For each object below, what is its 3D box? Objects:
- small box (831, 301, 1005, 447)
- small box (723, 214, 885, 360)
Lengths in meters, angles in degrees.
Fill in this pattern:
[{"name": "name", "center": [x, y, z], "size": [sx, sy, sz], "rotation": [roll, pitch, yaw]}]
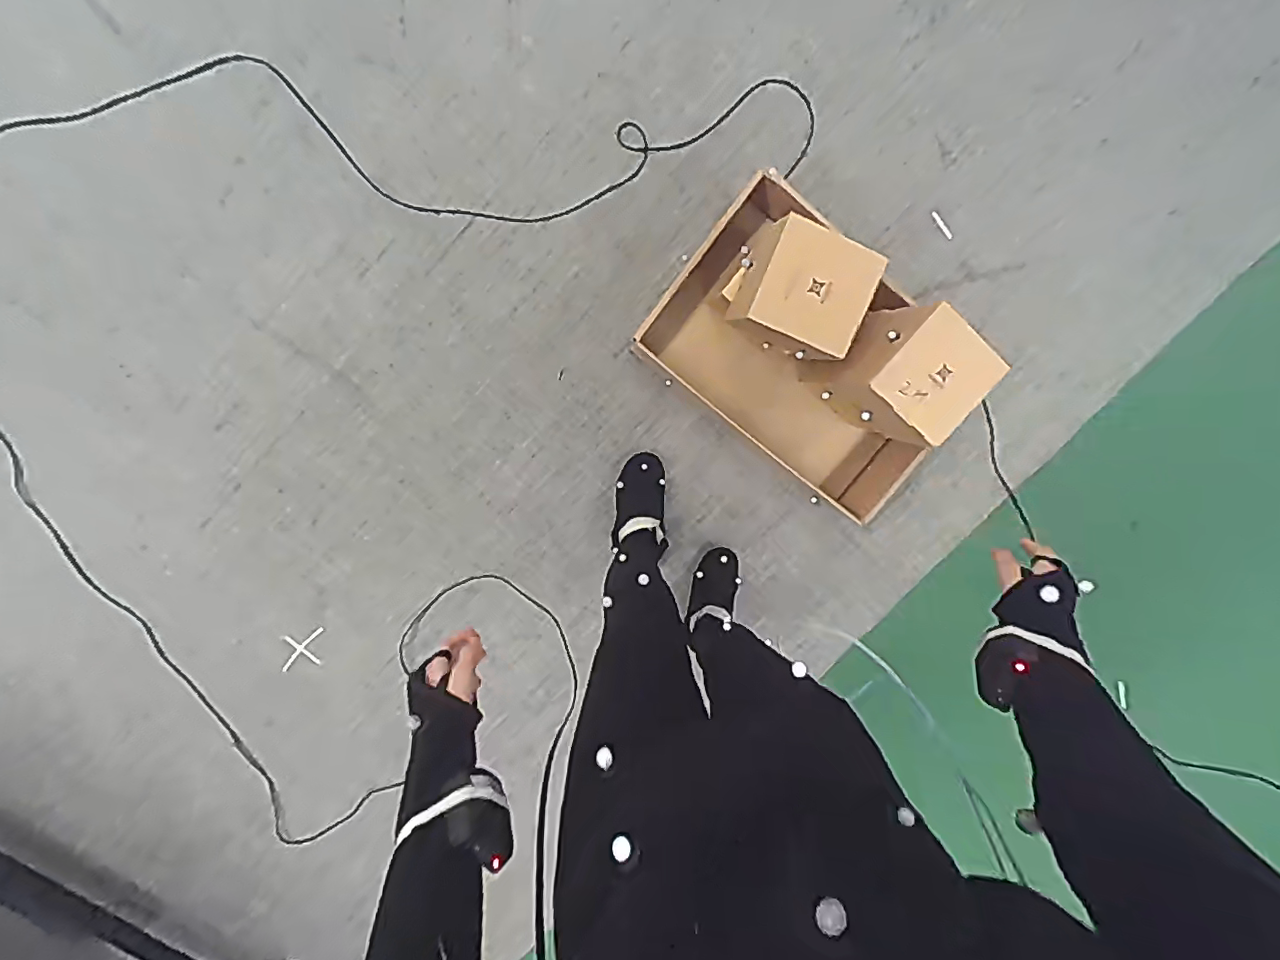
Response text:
[{"name": "small box", "center": [0.473, -0.185, 0.950], "size": [0.168, 0.176, 0.179], "rotation": [39, 97, -10]}, {"name": "small box", "center": [0.263, -0.314, 0.908], "size": [0.179, 0.176, 0.168], "rotation": [21, 101, -9]}]
